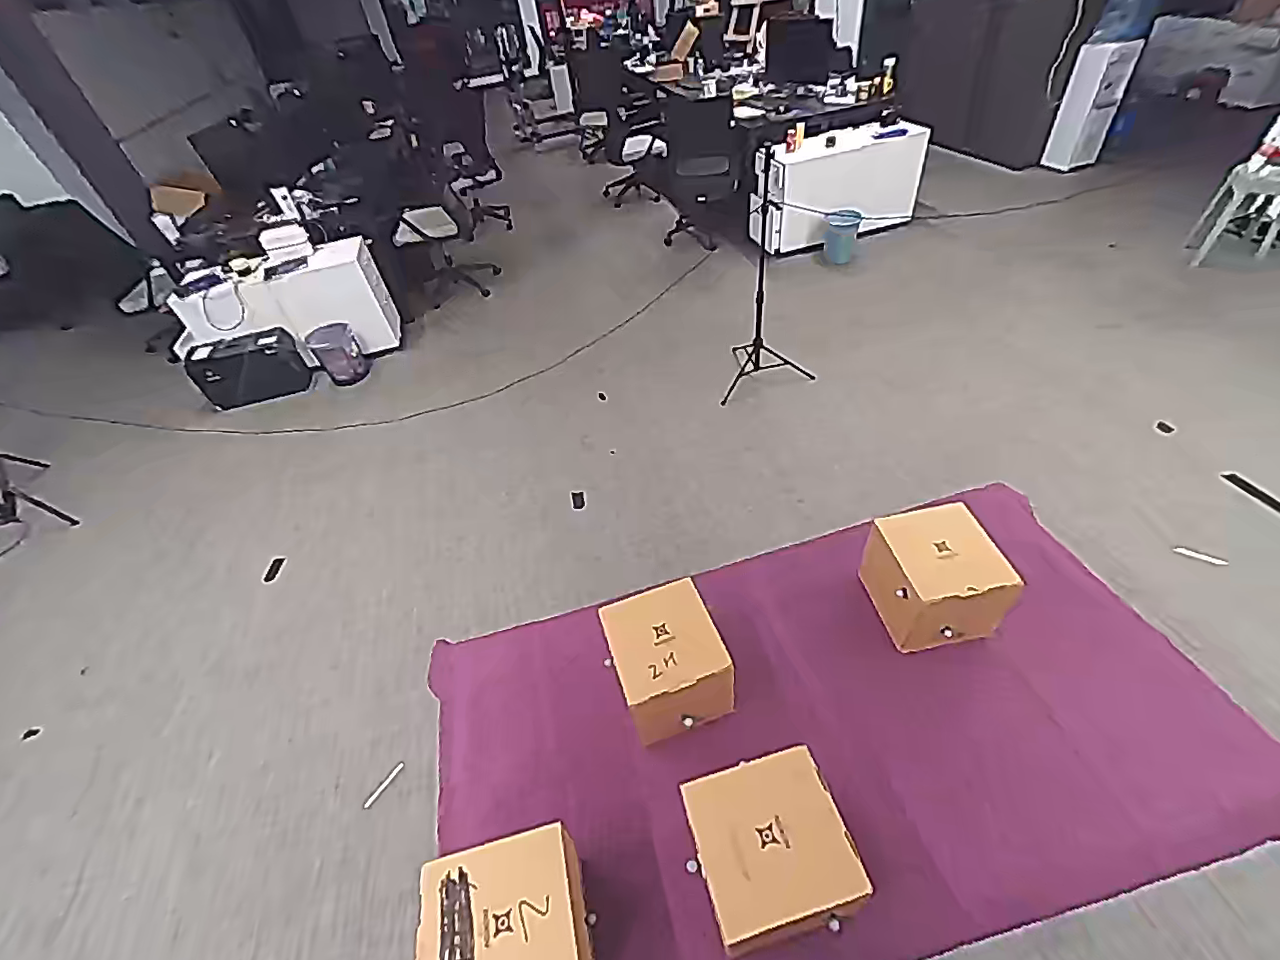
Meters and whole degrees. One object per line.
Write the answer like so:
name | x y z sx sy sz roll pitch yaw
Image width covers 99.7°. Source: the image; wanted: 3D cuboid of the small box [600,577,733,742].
small box | 0.043 0.299 0.900 0.168 0.176 0.179 -18 45 -8

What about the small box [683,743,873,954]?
small box | 0.162 0.473 0.696 0.179 0.176 0.168 -14 43 -7

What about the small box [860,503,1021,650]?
small box | 0.510 0.170 0.952 0.168 0.176 0.179 -11 45 -1
